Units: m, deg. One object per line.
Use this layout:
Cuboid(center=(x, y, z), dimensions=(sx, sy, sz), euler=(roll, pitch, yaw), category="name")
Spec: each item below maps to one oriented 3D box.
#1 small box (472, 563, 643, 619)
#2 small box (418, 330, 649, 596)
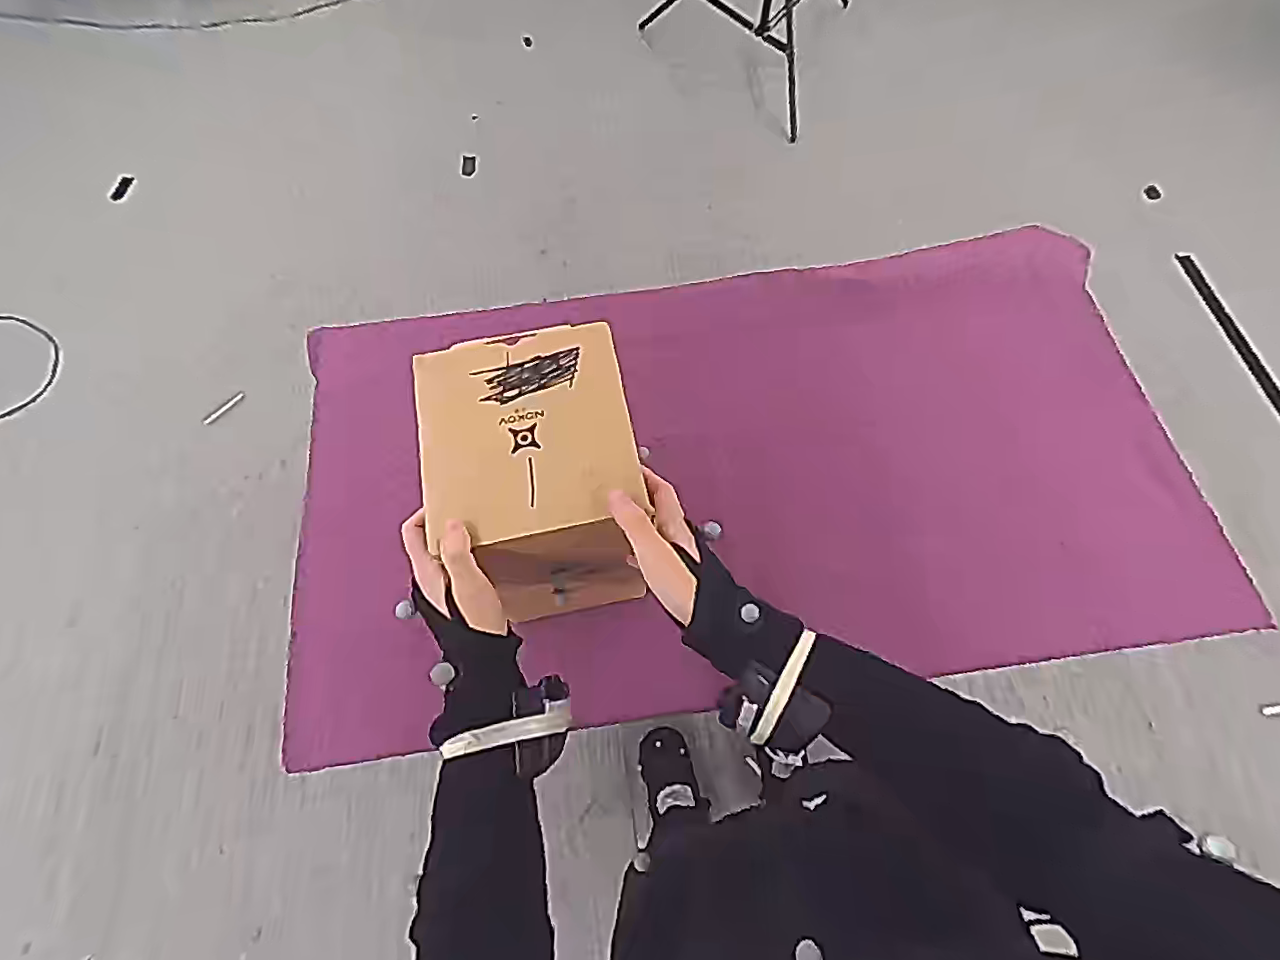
Cuboid(center=(-0.096, 0.062, 0.650), dimensions=(0.179, 0.176, 0.168), euler=(-11, 68, -3), category="small box")
Cuboid(center=(-0.089, -0.006, 0.500), dimensions=(0.168, 0.176, 0.179), euler=(-12, 68, -3), category="small box")
